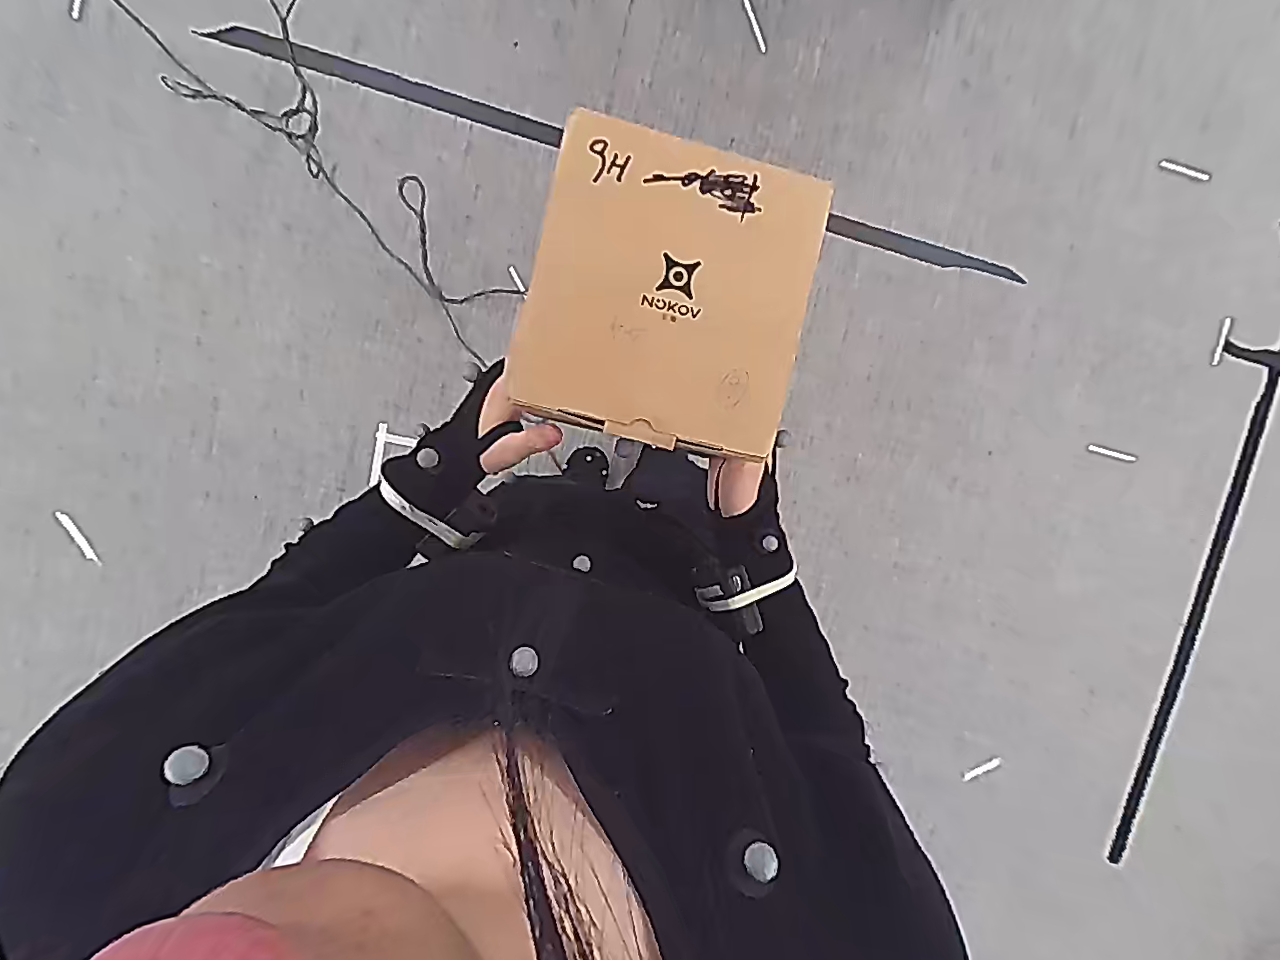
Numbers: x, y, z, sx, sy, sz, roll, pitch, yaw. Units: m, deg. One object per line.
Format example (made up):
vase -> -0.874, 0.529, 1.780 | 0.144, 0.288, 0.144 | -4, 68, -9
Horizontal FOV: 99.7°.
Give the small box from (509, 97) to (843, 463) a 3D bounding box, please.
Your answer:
small box -> 0.015, -0.119, 0.393 | 0.168, 0.176, 0.179 | 13, 94, -7
